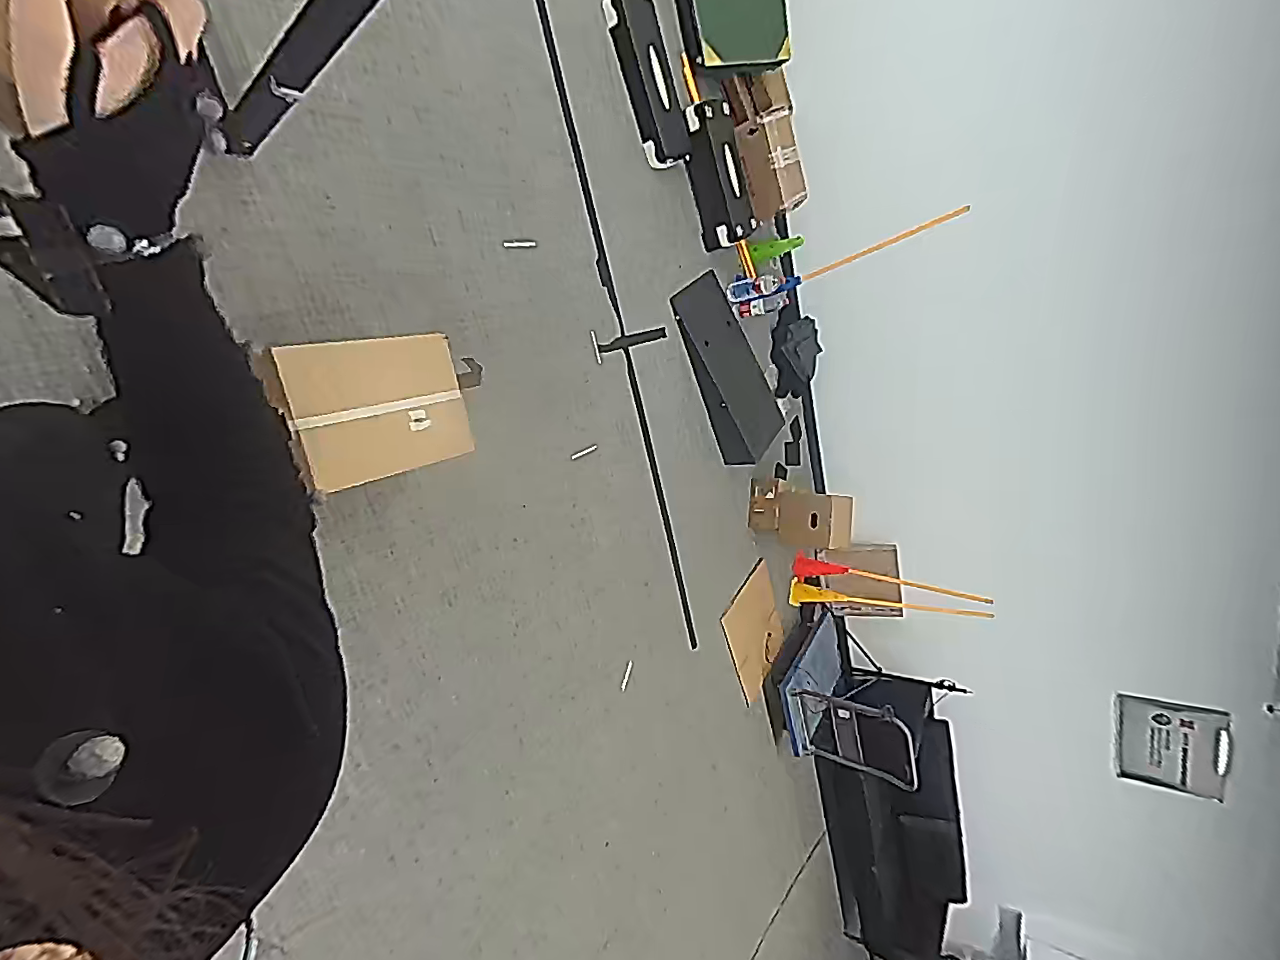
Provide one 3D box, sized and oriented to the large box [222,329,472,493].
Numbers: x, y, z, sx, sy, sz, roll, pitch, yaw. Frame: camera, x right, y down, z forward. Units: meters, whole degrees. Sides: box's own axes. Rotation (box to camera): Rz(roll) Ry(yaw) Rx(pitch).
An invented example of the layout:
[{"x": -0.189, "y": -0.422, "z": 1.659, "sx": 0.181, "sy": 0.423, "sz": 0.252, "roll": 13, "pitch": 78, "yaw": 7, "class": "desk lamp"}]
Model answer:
[{"x": -0.702, "y": -0.172, "z": 1.332, "sx": 0.408, "sy": 0.320, "sz": 0.320, "roll": -26, "pitch": 111, "yaw": -50, "class": "large box"}]
